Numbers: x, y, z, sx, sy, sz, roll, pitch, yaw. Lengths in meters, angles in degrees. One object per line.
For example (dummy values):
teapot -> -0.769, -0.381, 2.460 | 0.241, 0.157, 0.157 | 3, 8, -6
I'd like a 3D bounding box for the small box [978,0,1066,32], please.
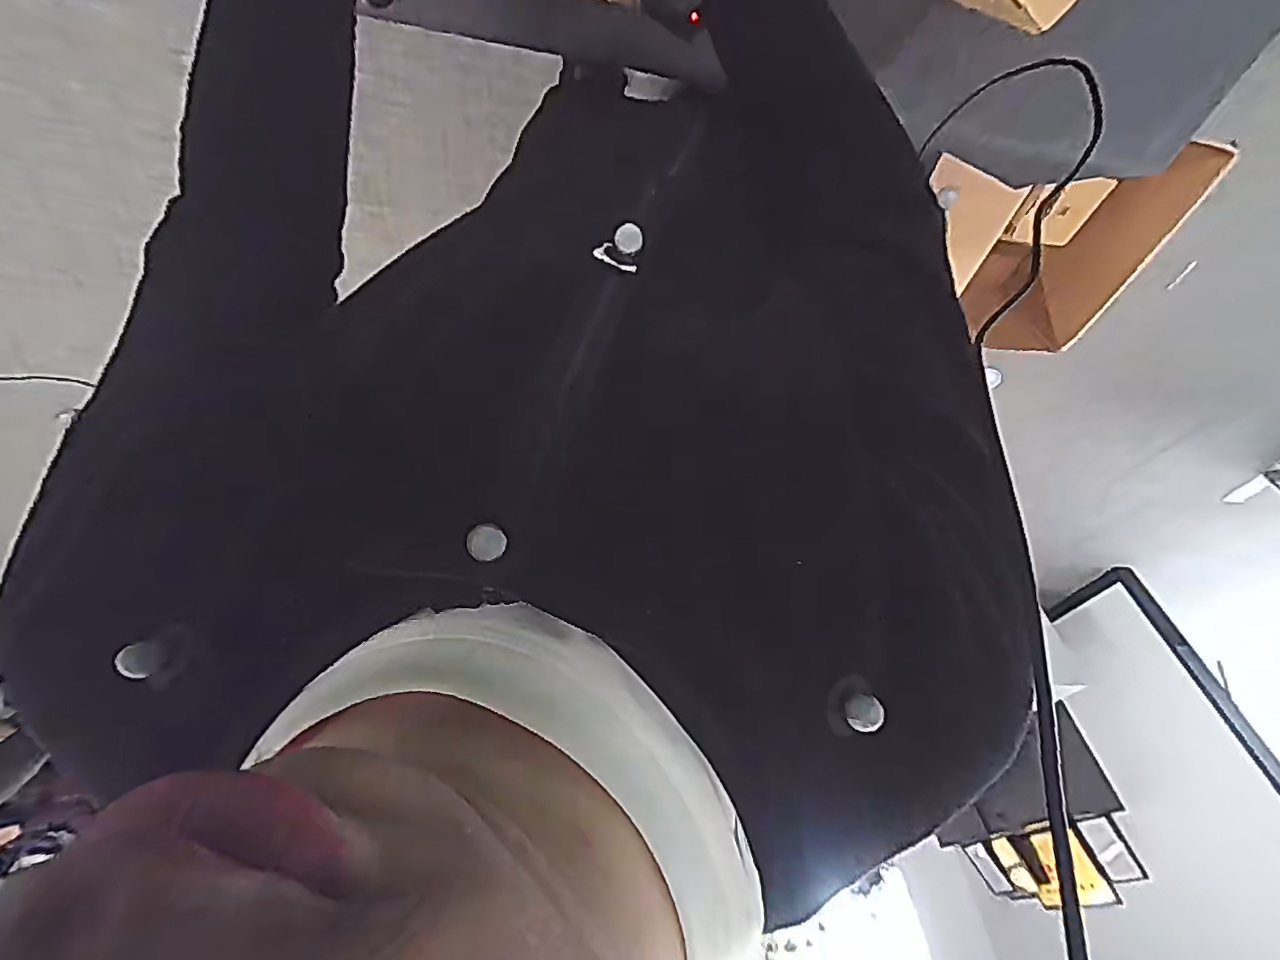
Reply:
small box -> 0.293, -0.494, 0.396 | 0.168, 0.176, 0.179 | 20, 135, -27
